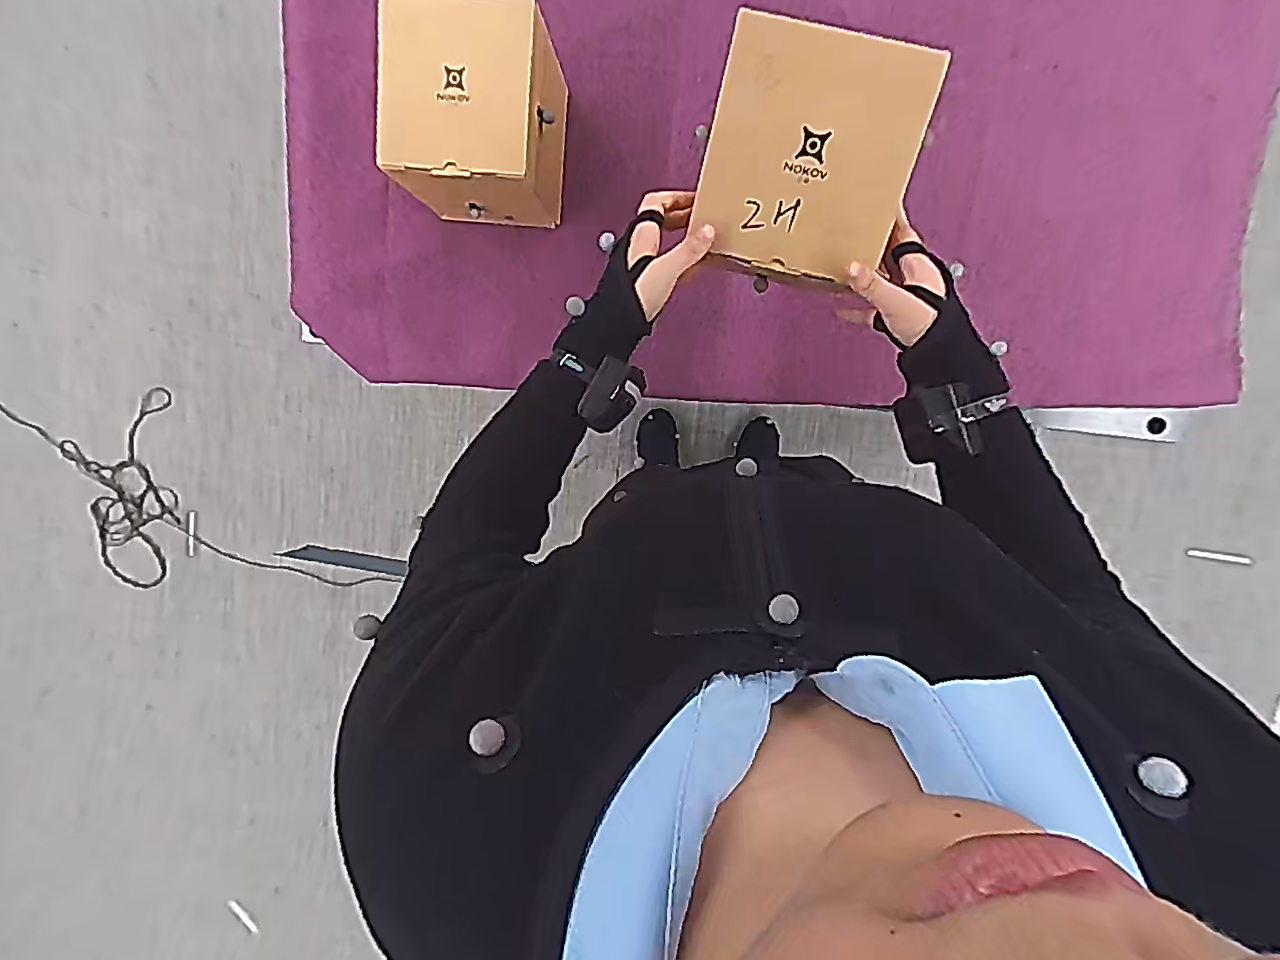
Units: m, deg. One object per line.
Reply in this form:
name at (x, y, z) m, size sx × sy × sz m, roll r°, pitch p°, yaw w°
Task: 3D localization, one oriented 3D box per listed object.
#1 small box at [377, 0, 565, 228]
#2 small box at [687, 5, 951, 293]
small box at (-0.188, -0.422, 0.642) m, size 0.168 × 0.176 × 0.179 m, roll 6°, pitch 99°, yaw 3°
small box at (0.146, -0.285, 0.510) m, size 0.168 × 0.176 × 0.179 m, roll 15°, pitch 109°, yaw 3°
